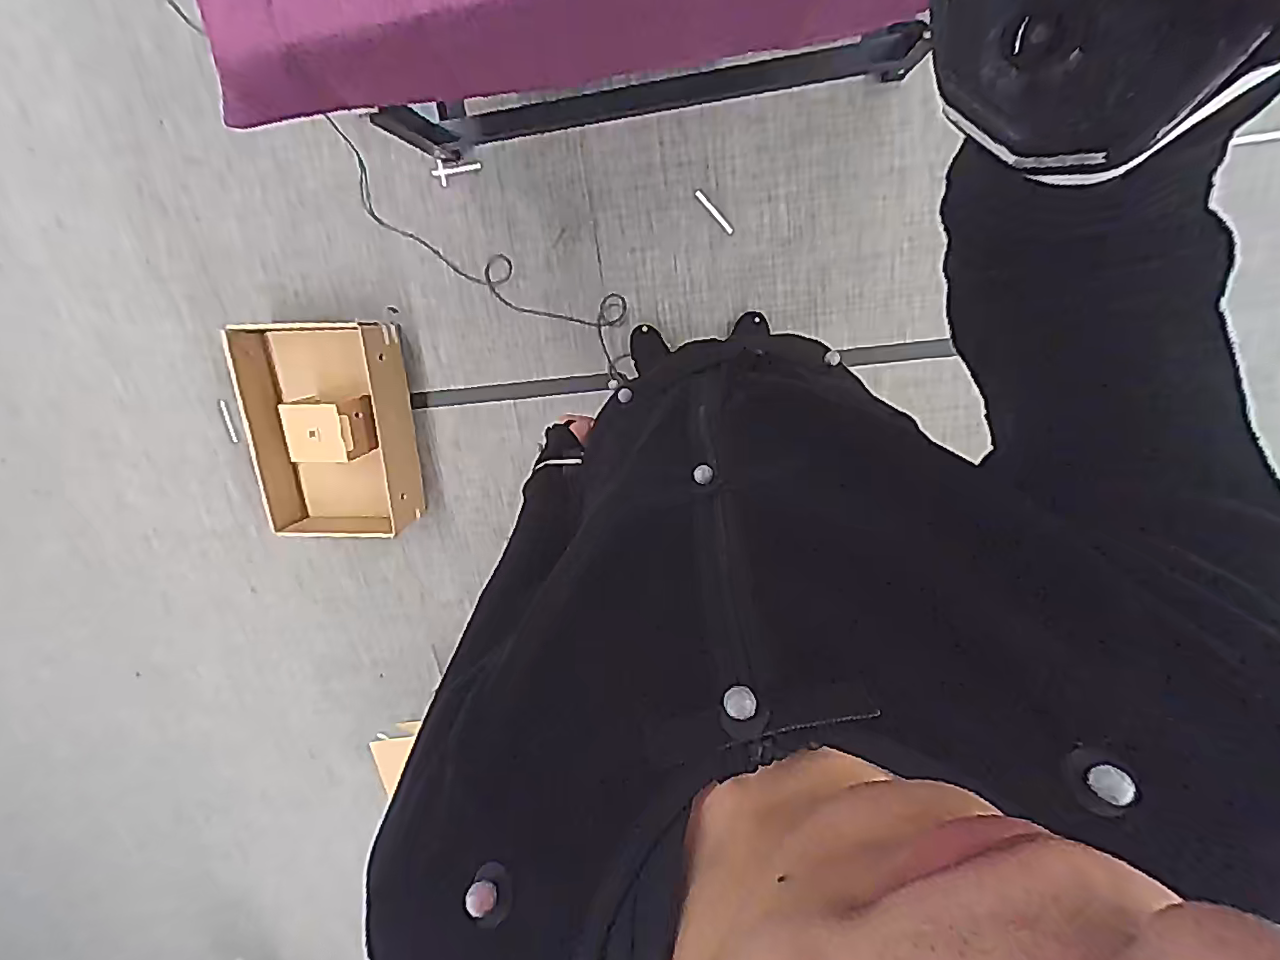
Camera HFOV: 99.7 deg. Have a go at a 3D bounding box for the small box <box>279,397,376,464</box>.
[{"bbox_3d":[-0.891,-0.147,1.566,0.179,0.176,0.168,0,108,5],"label":"small box"}]
